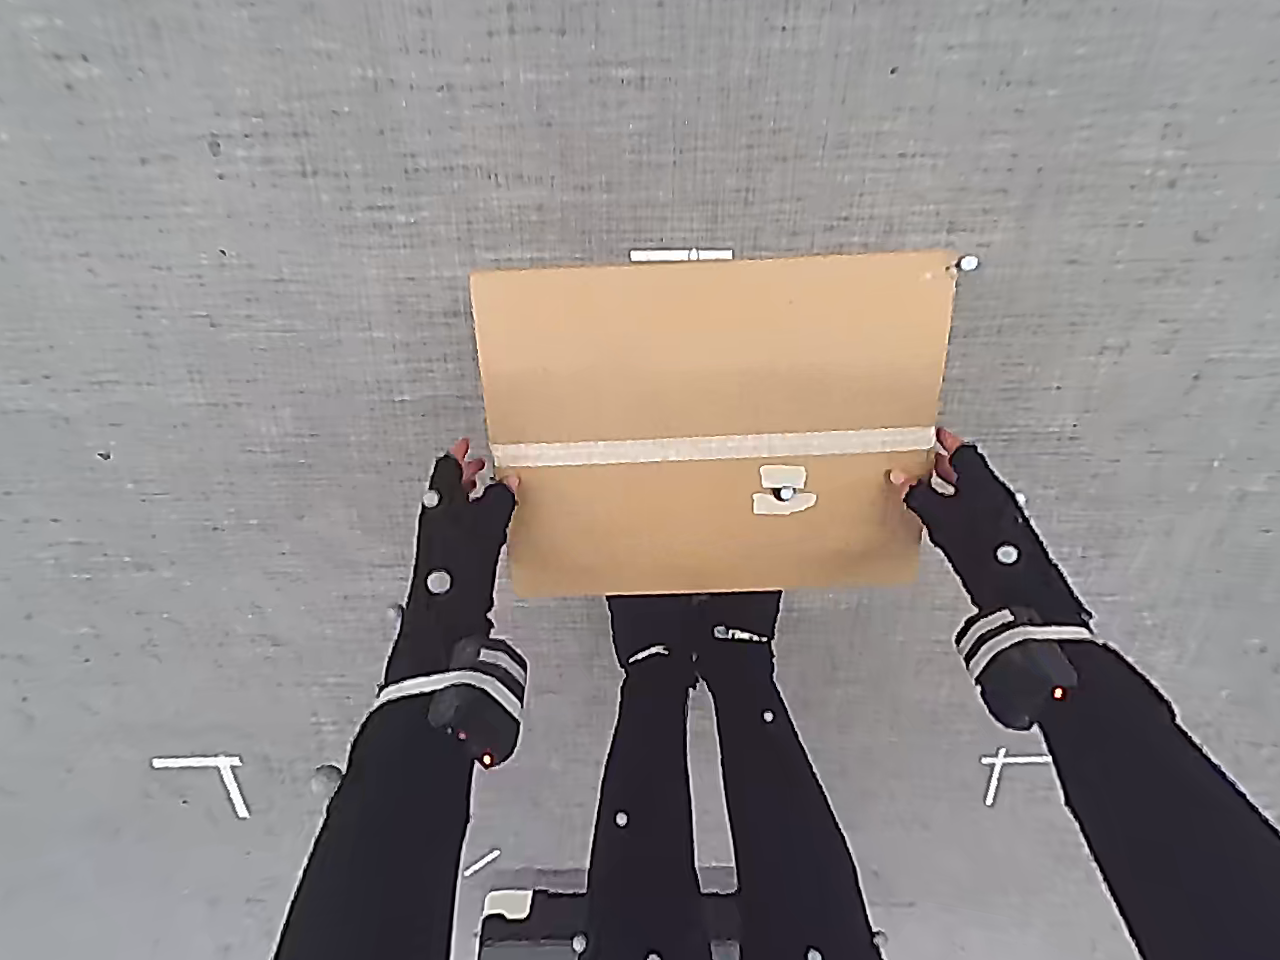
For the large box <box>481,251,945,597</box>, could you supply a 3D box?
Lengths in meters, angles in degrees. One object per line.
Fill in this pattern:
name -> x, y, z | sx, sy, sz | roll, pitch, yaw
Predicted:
large box -> 0.068, -0.083, 0.646 | 0.408, 0.320, 0.320 | -3, 110, 1
